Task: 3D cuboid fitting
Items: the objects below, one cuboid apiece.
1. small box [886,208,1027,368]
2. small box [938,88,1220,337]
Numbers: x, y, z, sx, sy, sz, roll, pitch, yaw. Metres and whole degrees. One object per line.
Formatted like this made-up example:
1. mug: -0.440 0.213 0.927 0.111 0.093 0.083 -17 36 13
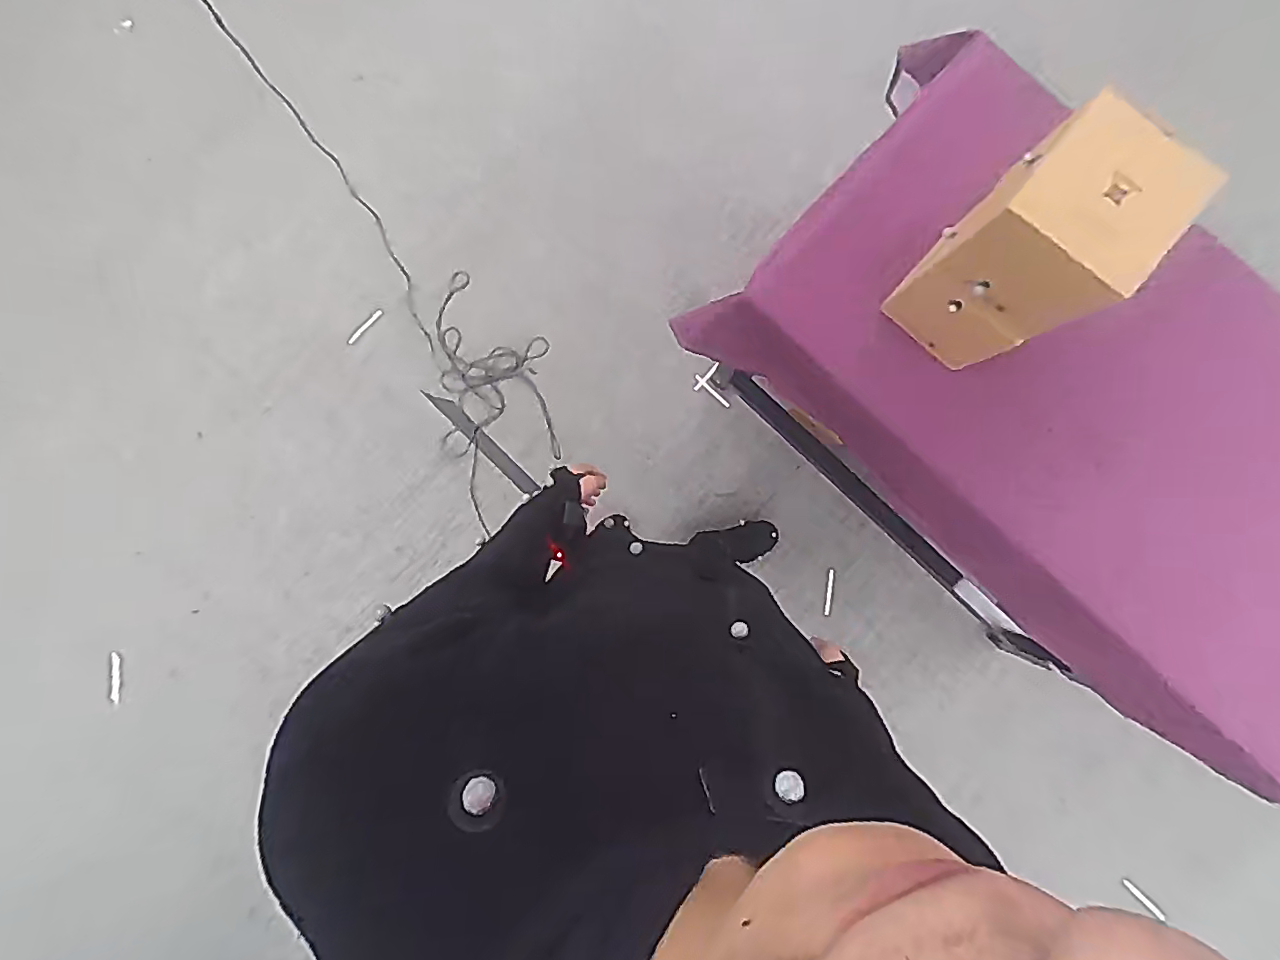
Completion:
1. small box: 0.520 -0.301 0.830 0.168 0.176 0.179 42 89 2
2. small box: 0.516 -0.310 0.666 0.168 0.176 0.179 40 90 2
